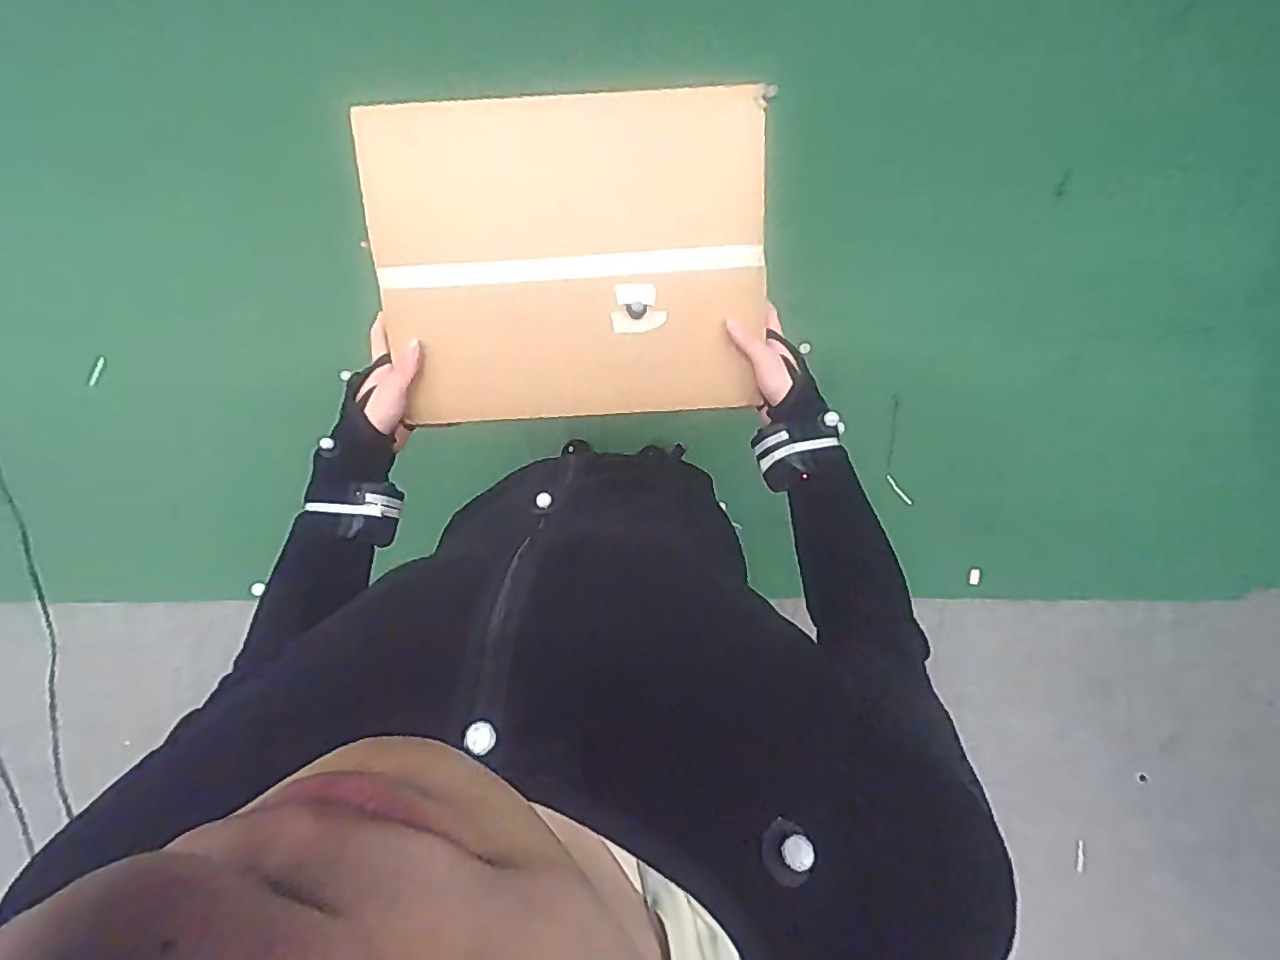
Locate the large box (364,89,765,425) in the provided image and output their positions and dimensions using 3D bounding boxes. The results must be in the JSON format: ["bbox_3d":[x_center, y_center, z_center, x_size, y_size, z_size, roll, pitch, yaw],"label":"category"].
[{"bbox_3d":[-0.072,-0.262,0.717,0.408,0.320,0.320,-4,106,0],"label":"large box"}]
